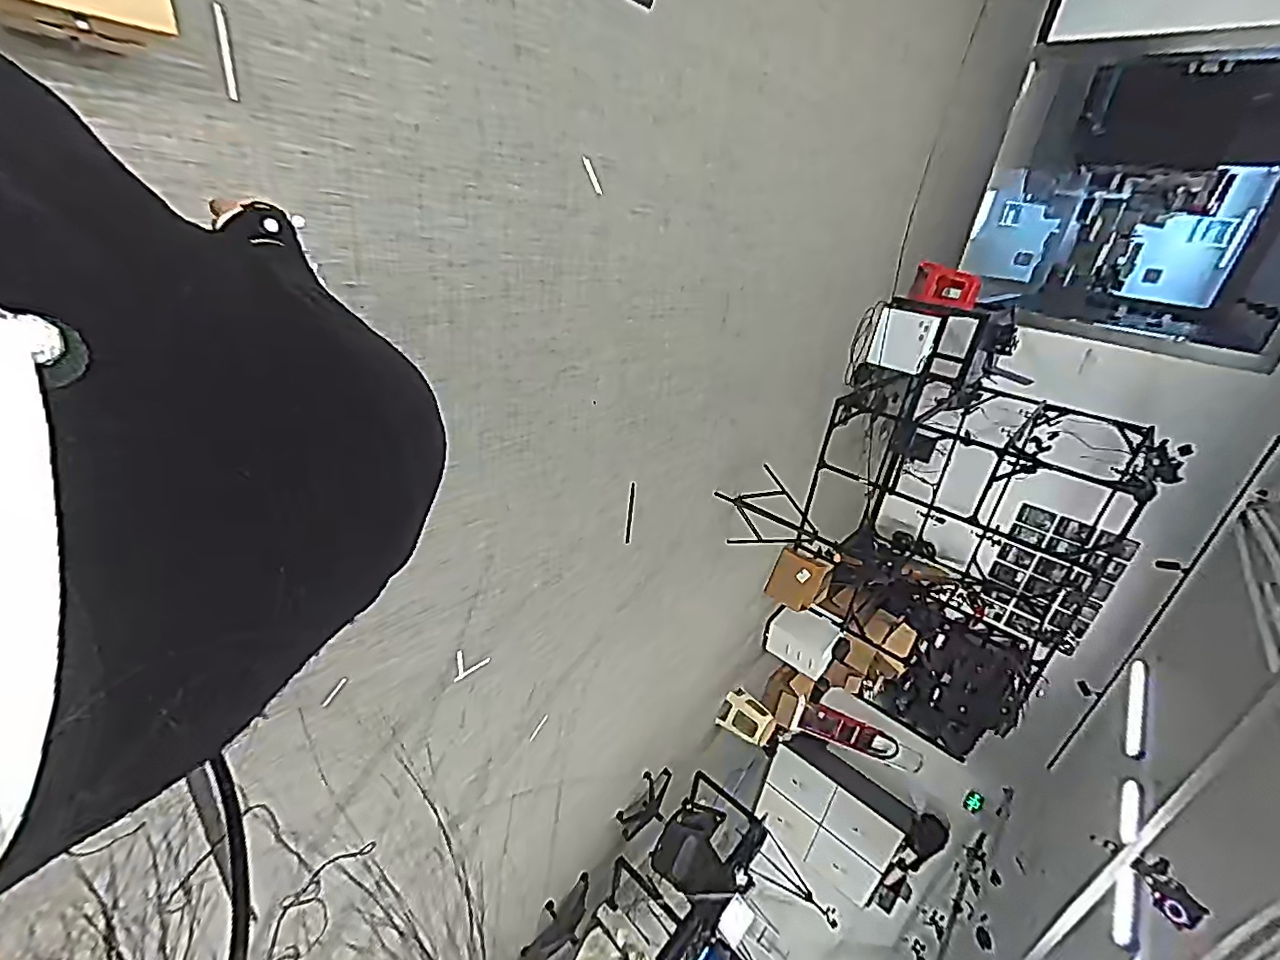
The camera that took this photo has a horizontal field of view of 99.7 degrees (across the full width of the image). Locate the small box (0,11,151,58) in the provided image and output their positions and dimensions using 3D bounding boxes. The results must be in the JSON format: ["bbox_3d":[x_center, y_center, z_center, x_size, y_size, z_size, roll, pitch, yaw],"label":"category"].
[{"bbox_3d":[-0.903,-0.784,0.838,0.168,0.176,0.179,-22,130,-47],"label":"small box"}]

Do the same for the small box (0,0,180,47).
[{"bbox_3d":[-0.783,-0.722,0.744,0.179,0.176,0.168,-24,130,-46],"label":"small box"}]
